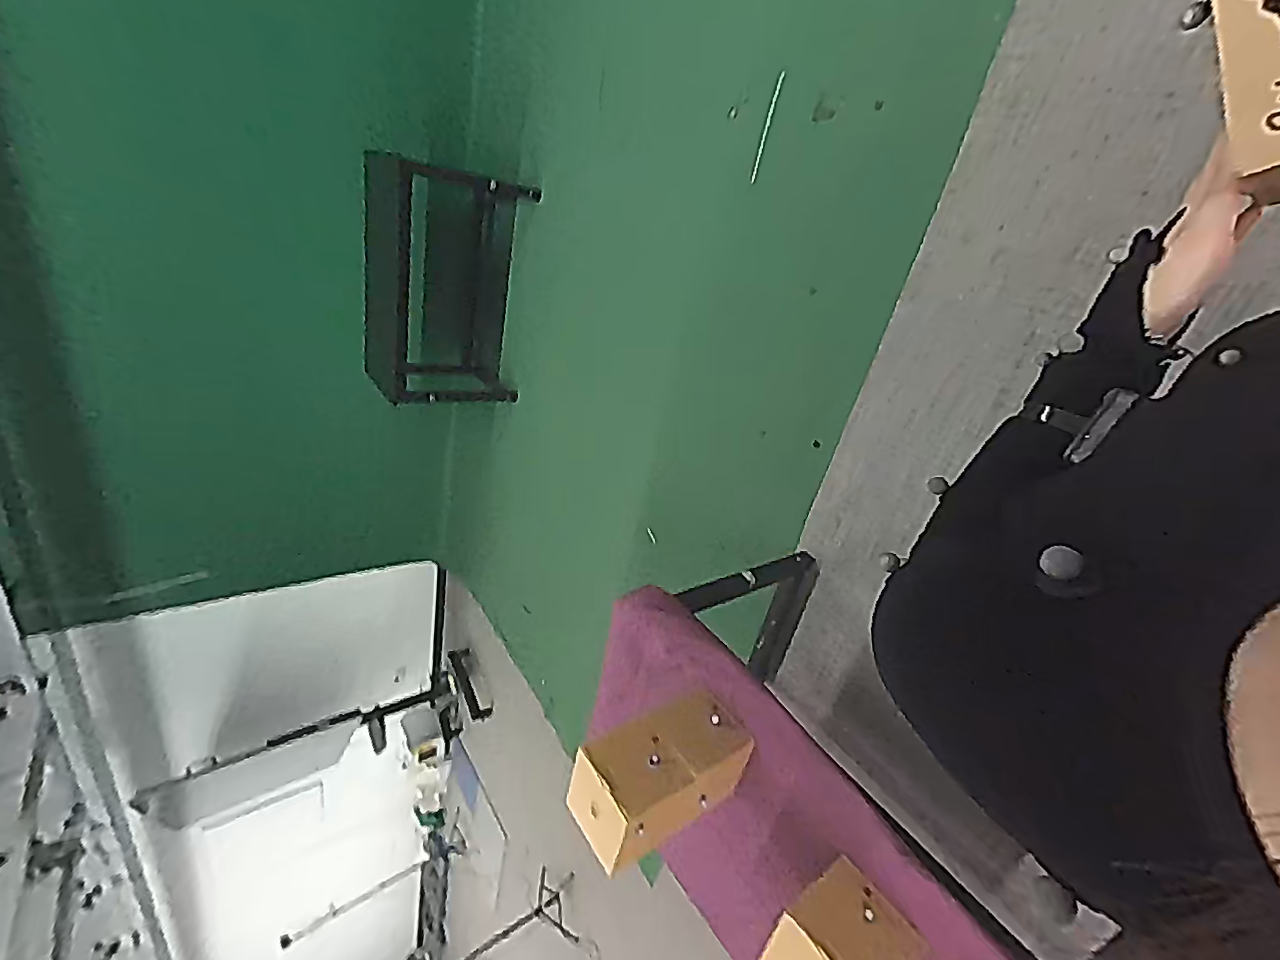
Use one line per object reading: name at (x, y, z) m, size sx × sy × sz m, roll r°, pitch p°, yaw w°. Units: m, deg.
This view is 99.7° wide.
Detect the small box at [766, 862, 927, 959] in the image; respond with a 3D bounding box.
small box at (0.337, 0.793, 0.892) m, size 0.168 × 0.176 × 0.179 m, roll 36°, pitch 124°, yaw 42°

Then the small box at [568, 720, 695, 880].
small box at (-0.017, 0.607, 1.045) m, size 0.168 × 0.176 × 0.179 m, roll 37°, pitch 124°, yaw 42°

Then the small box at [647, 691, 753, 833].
small box at (0.112, 0.586, 1.142) m, size 0.168 × 0.176 × 0.179 m, roll 38°, pitch 124°, yaw 41°

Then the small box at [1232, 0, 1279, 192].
small box at (0.425, -0.269, 0.264) m, size 0.179 × 0.176 × 0.168 m, roll -4°, pitch 97°, yaw 53°
